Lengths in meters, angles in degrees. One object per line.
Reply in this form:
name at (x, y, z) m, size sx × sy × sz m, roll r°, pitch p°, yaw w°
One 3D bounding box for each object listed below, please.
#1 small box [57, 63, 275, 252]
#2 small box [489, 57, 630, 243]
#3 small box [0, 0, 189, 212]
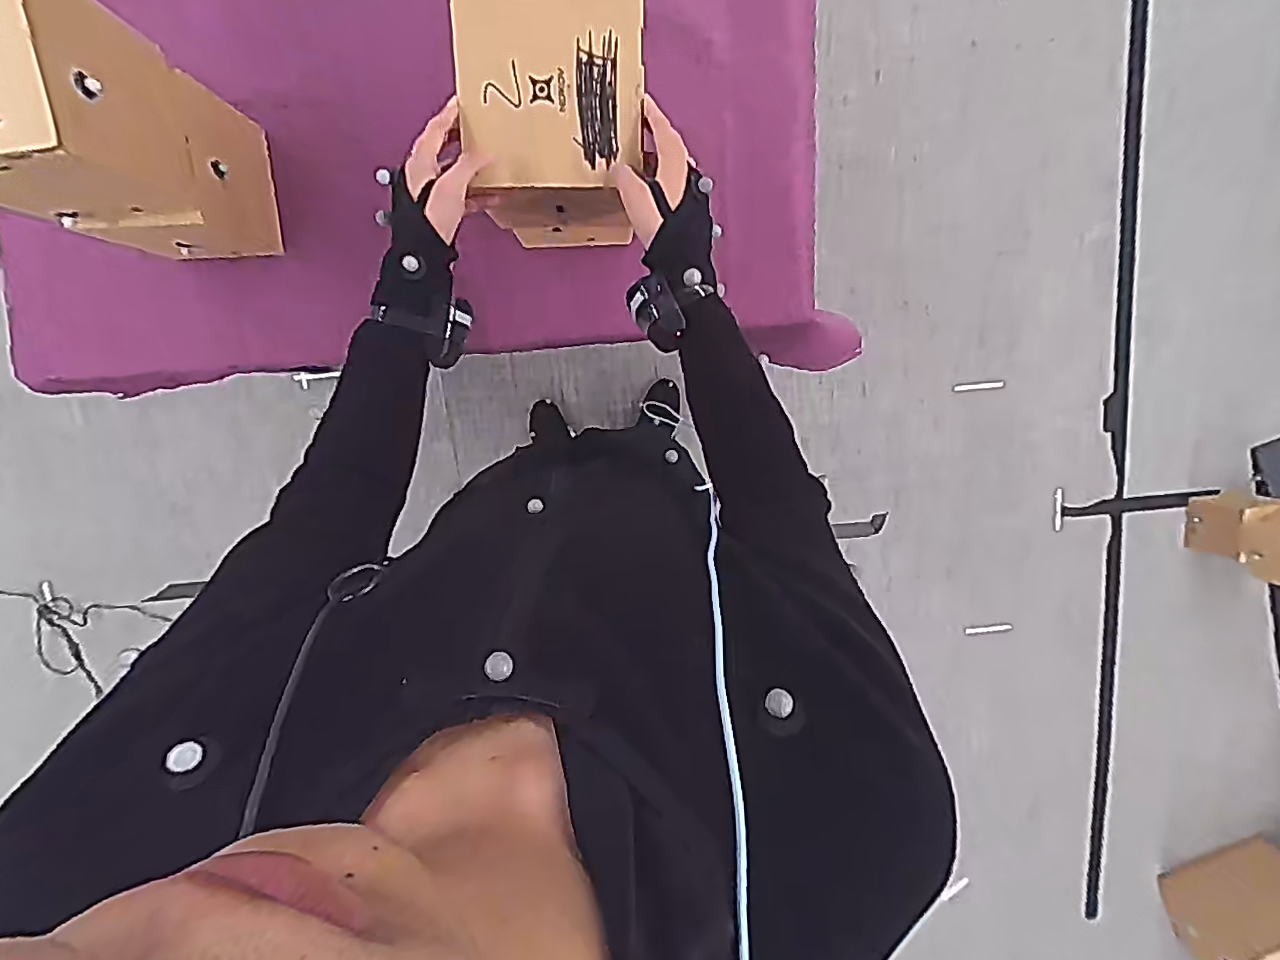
small box at (-0.618, -0.406, 0.712) m, size 0.168 × 0.176 × 0.179 m, roll -3°, pitch 101°, yaw -3°
small box at (-0.098, -0.431, 0.737) m, size 0.168 × 0.176 × 0.179 m, roll -3°, pitch 100°, yaw -2°
small box at (-0.614, -0.388, 0.548) m, size 0.168 × 0.176 × 0.179 m, roll -7°, pitch 100°, yaw -2°
